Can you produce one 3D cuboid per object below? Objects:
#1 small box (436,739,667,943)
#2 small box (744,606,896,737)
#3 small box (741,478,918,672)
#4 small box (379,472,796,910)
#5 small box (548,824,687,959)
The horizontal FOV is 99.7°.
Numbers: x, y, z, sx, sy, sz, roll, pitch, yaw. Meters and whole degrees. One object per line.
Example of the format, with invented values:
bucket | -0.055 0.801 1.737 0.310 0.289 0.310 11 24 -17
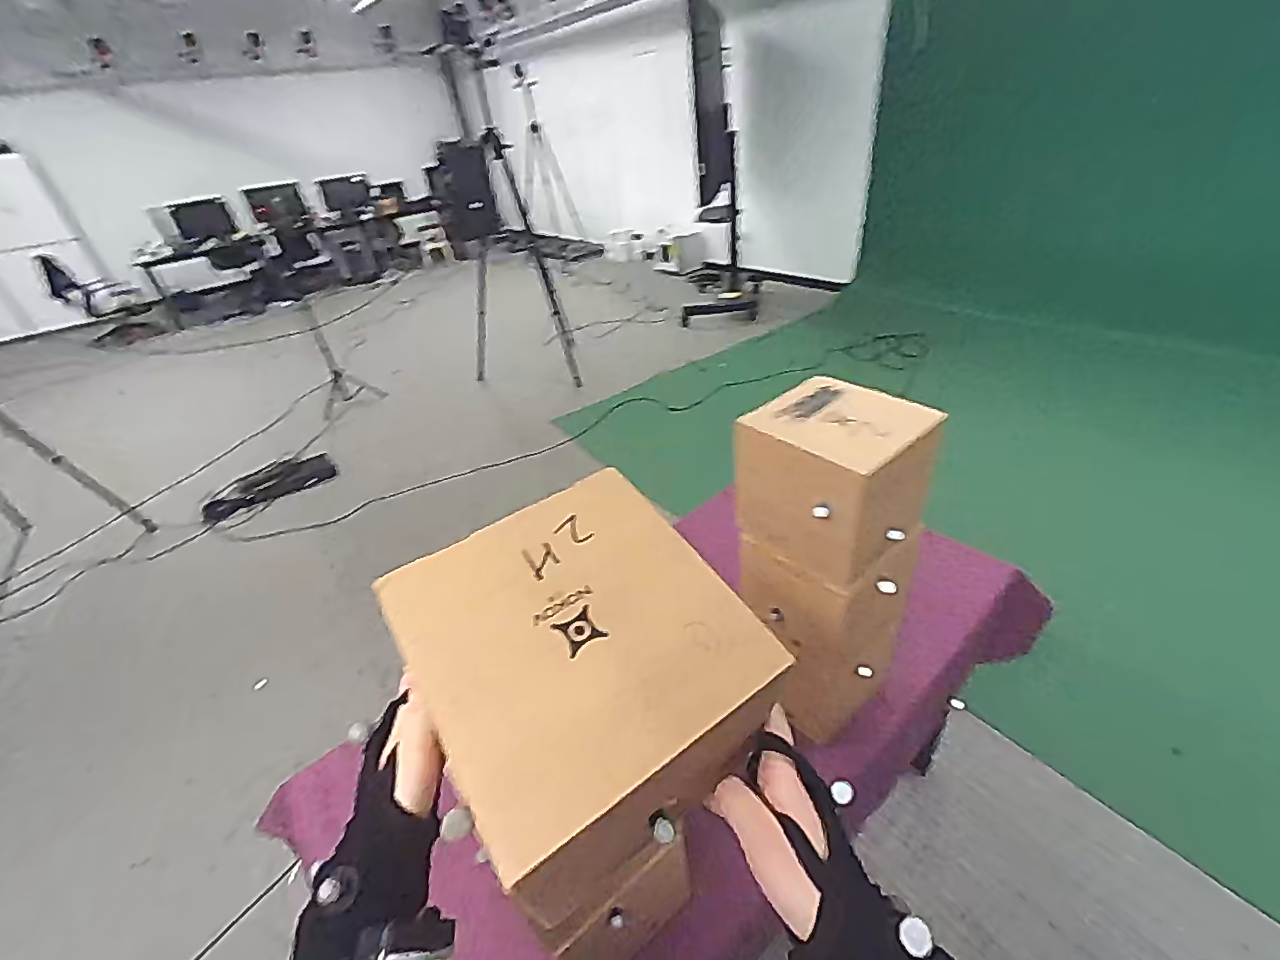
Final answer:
small box | -0.080 0.319 0.566 0.179 0.176 0.168 -29 39 -26
small box | 0.276 0.264 0.860 0.179 0.176 0.168 -29 40 -28
small box | 0.259 0.130 0.770 0.179 0.176 0.168 -31 41 -28
small box | -0.034 0.133 0.348 0.168 0.176 0.179 -27 53 -23
small box | -0.062 0.453 0.658 0.168 0.176 0.179 -29 39 -27
